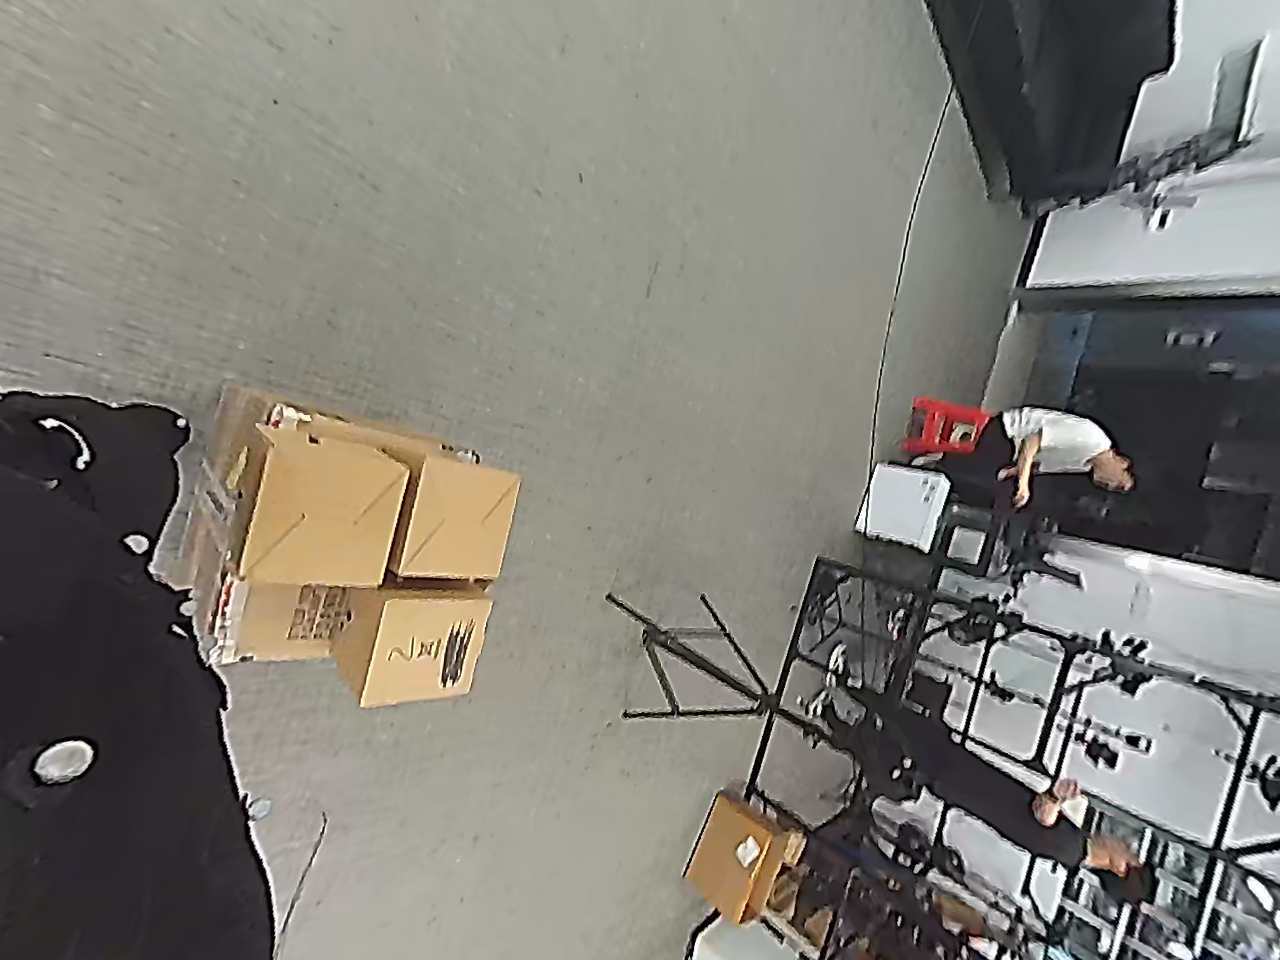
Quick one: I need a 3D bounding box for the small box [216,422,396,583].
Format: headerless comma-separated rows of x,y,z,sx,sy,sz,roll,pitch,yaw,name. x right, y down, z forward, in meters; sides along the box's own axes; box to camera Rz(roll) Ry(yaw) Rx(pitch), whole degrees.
-0.465,0.031,0.757,0.168,0.176,0.179,14,91,-44,small box
